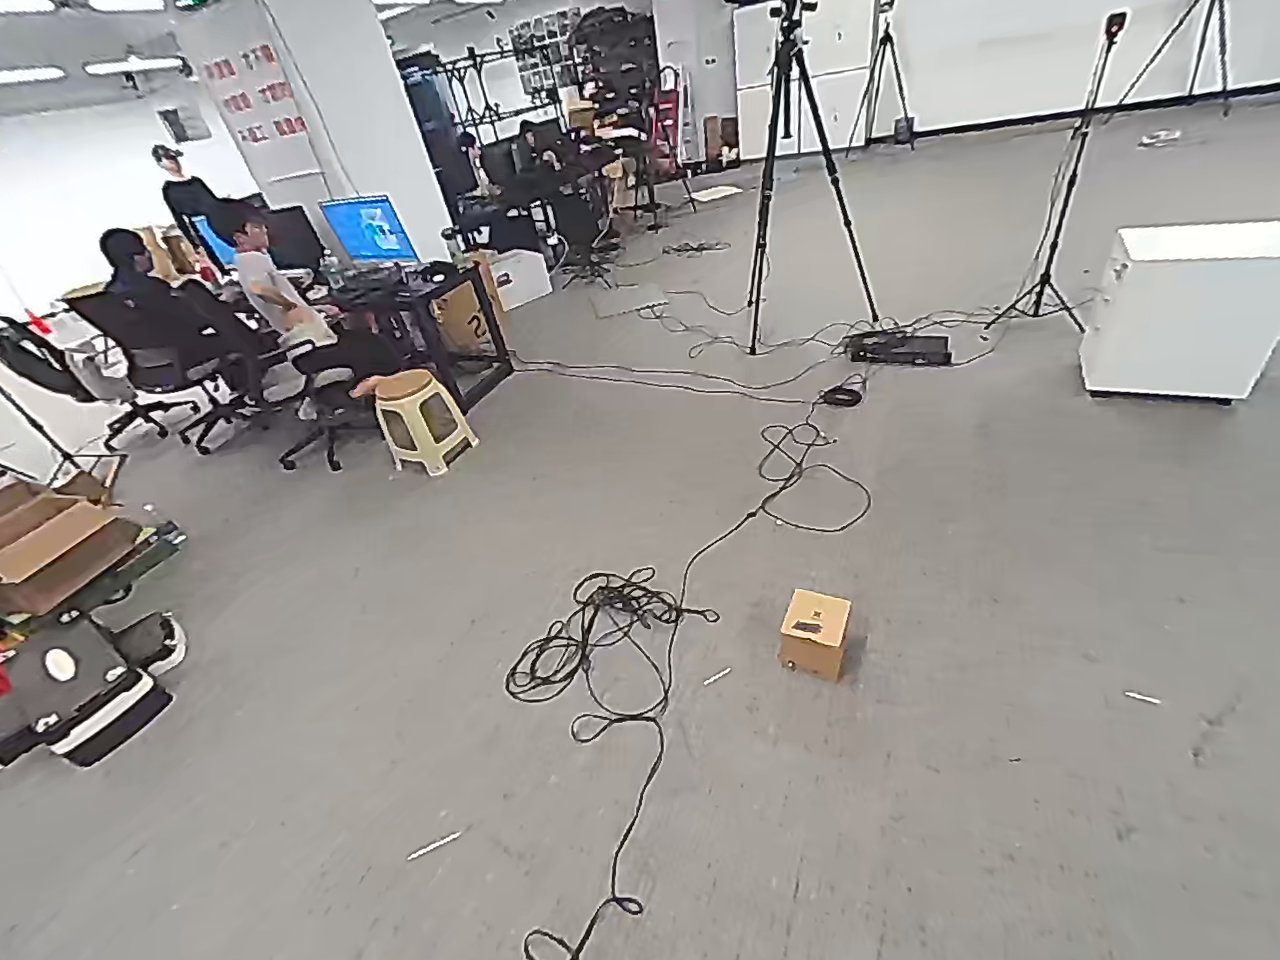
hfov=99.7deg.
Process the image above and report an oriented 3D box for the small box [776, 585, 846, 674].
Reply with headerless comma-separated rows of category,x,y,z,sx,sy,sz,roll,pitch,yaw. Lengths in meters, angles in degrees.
small box,0.518,0.451,1.629,0.168,0.176,0.179,11,42,27
